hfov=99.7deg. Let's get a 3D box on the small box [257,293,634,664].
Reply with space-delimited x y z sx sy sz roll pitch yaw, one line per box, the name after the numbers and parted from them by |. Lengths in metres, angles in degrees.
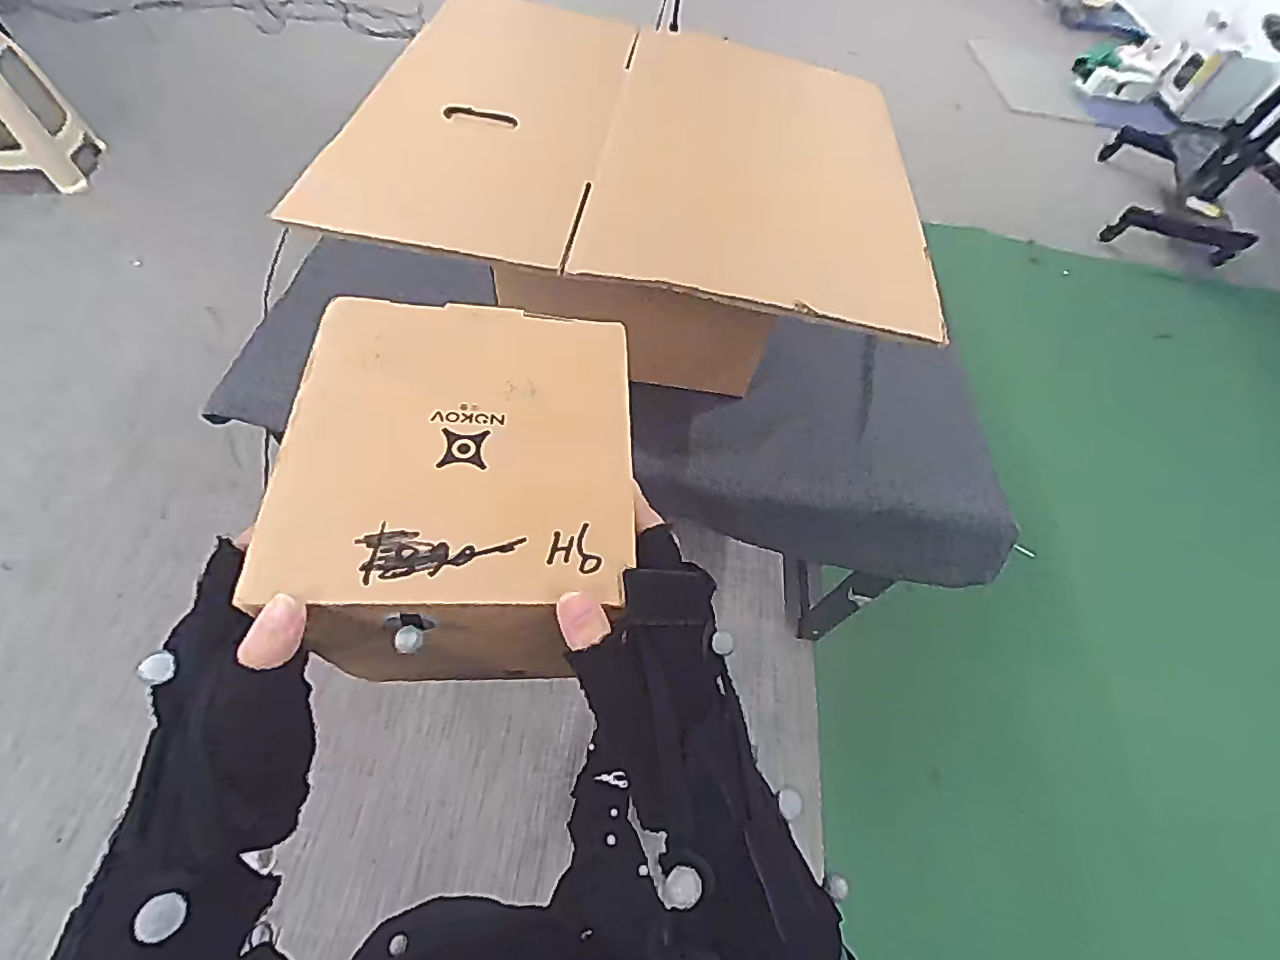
-0.098 0.010 0.350 0.168 0.176 0.179 2 58 -8 | small box
